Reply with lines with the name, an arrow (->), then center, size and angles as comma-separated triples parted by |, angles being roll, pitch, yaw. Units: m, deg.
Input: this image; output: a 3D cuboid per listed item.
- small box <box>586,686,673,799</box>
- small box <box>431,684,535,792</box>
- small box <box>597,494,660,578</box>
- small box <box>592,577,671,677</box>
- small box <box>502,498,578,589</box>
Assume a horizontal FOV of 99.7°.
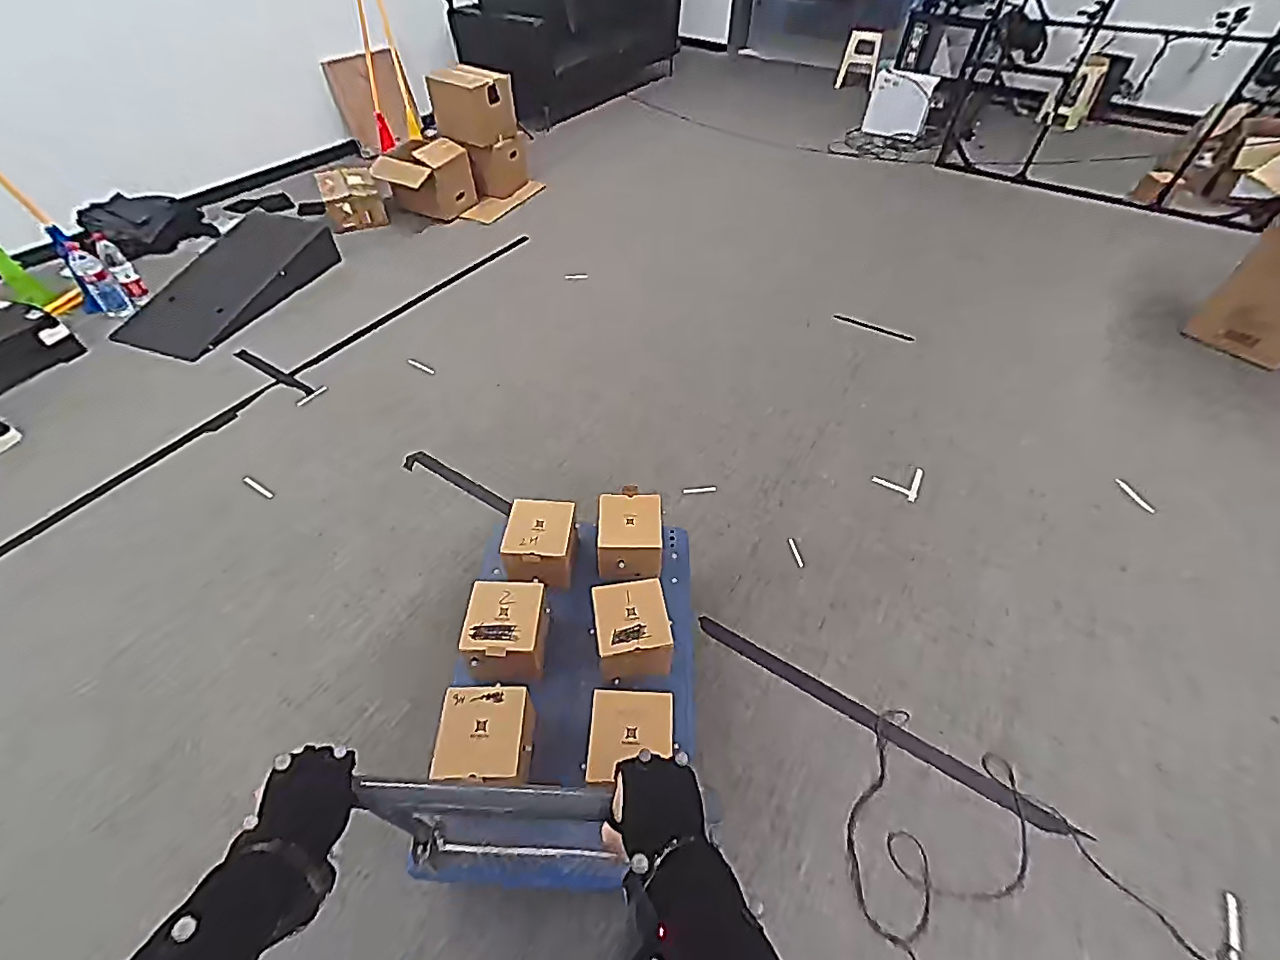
small box -> -0.019, 0.555, 1.135 | 0.168, 0.176, 0.179 | 4, 48, 0
small box -> -0.317, 0.543, 1.131 | 0.168, 0.176, 0.179 | 1, 49, -3
small box -> -0.030, 0.156, 1.485 | 0.168, 0.176, 0.179 | 0, 48, -2
small box -> -0.023, 0.361, 1.305 | 0.168, 0.176, 0.179 | -6, 49, -8
small box -> -0.262, 0.171, 1.459 | 0.168, 0.176, 0.179 | 4, 49, 1
